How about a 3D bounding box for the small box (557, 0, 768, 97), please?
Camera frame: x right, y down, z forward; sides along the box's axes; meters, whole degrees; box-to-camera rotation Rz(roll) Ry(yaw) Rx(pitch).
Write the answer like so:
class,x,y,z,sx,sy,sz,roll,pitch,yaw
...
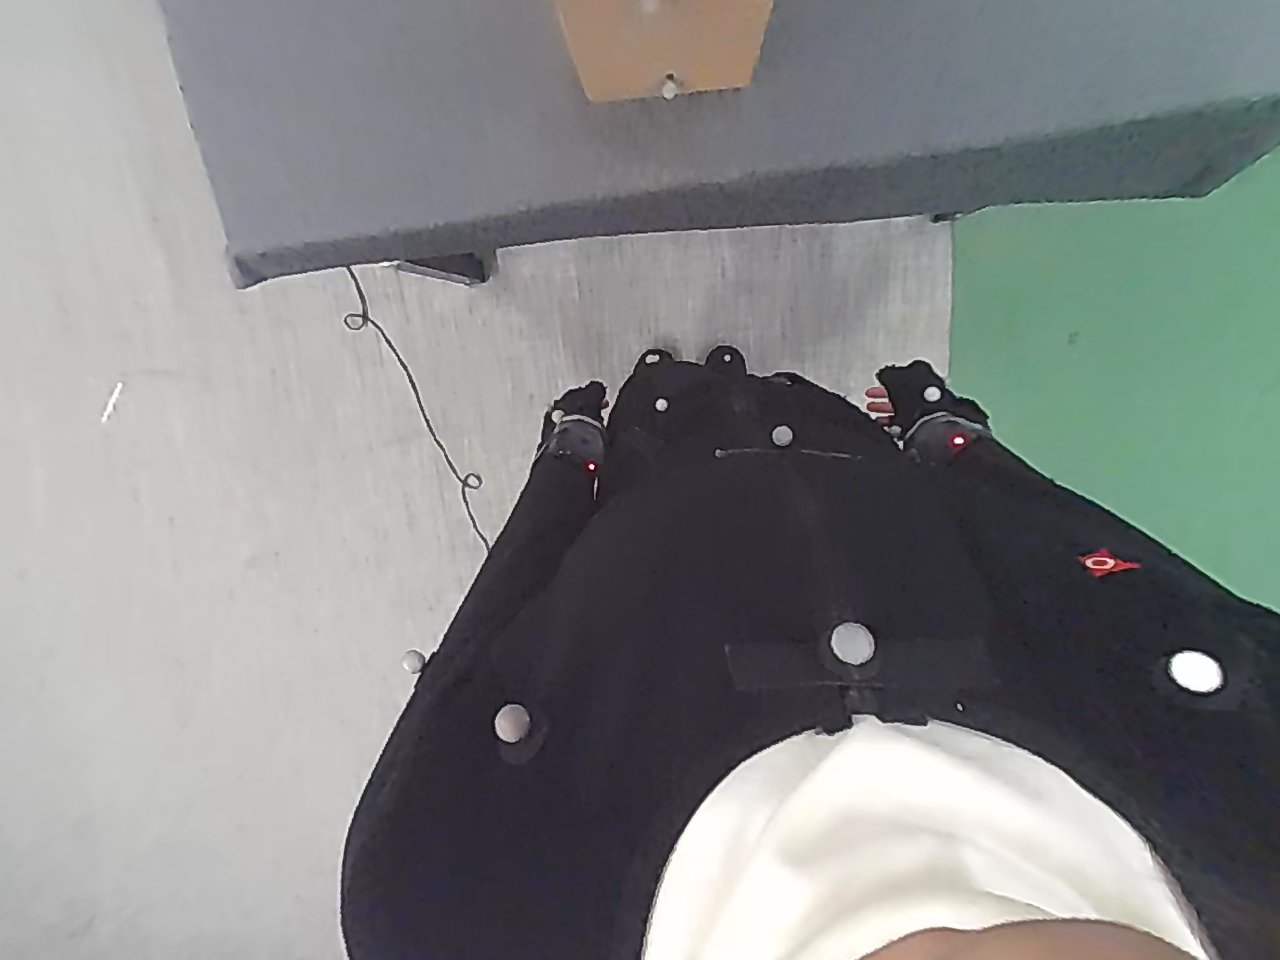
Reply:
class,x,y,z,sx,sy,sz,roll,pitch,yaw
small box,0.017,-0.482,0.492,0.179,0.176,0.168,-4,104,4
